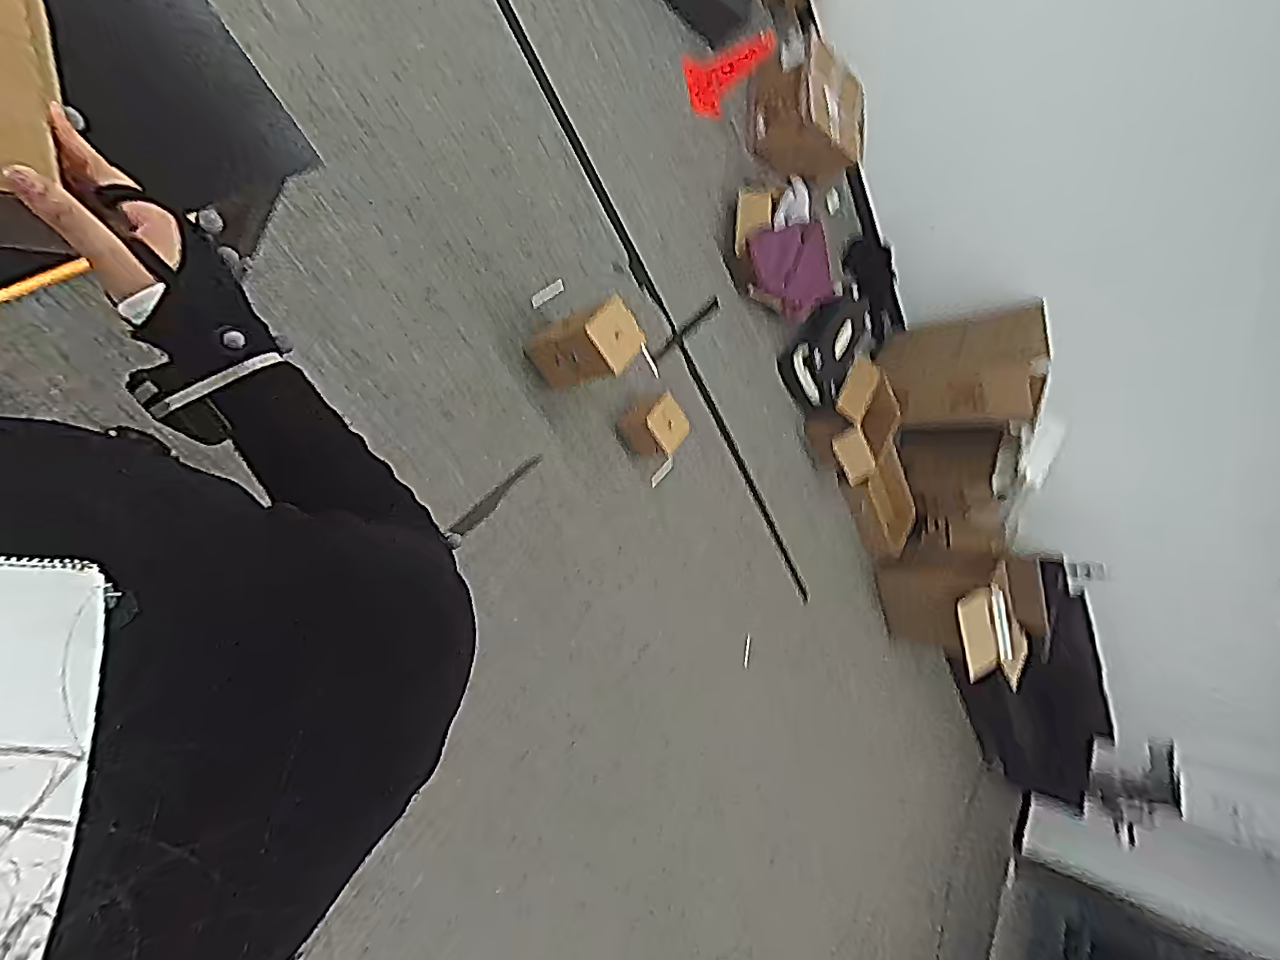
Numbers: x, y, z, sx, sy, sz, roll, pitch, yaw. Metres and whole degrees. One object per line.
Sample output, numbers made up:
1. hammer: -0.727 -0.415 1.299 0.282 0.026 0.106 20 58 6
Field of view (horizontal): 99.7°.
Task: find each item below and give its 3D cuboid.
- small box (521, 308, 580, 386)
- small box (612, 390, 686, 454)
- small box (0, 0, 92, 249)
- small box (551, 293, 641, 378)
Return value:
1. small box: -0.251 -0.425 1.751 0.168 0.176 0.179 -52 123 -30
2. small box: 0.033 -0.214 2.017 0.179 0.176 0.168 53 57 -29
3. small box: -0.458 -0.248 0.320 0.168 0.176 0.179 -9 105 -41
4. small box: -0.135 -0.433 1.638 0.168 0.176 0.179 52 59 -28
